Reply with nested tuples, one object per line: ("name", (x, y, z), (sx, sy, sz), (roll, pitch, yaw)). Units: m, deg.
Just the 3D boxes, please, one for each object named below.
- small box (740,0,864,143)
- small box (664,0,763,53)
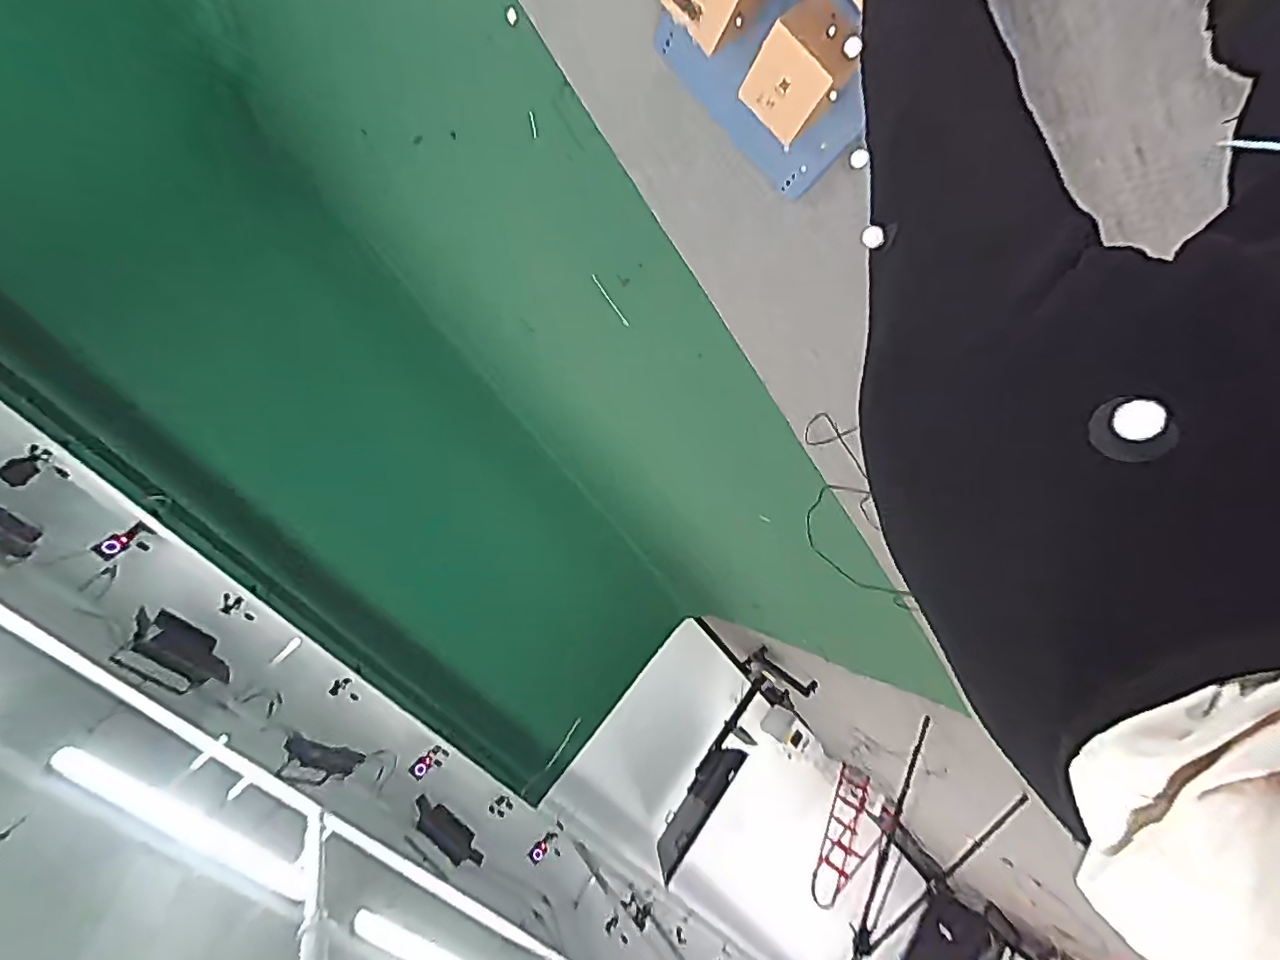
("small box", (0.360, -0.902, 1.187), (0.168, 0.176, 0.179), (45, 159, -4))
("small box", (0.181, -1.082, 1.152), (0.168, 0.176, 0.179), (44, 158, -7))
